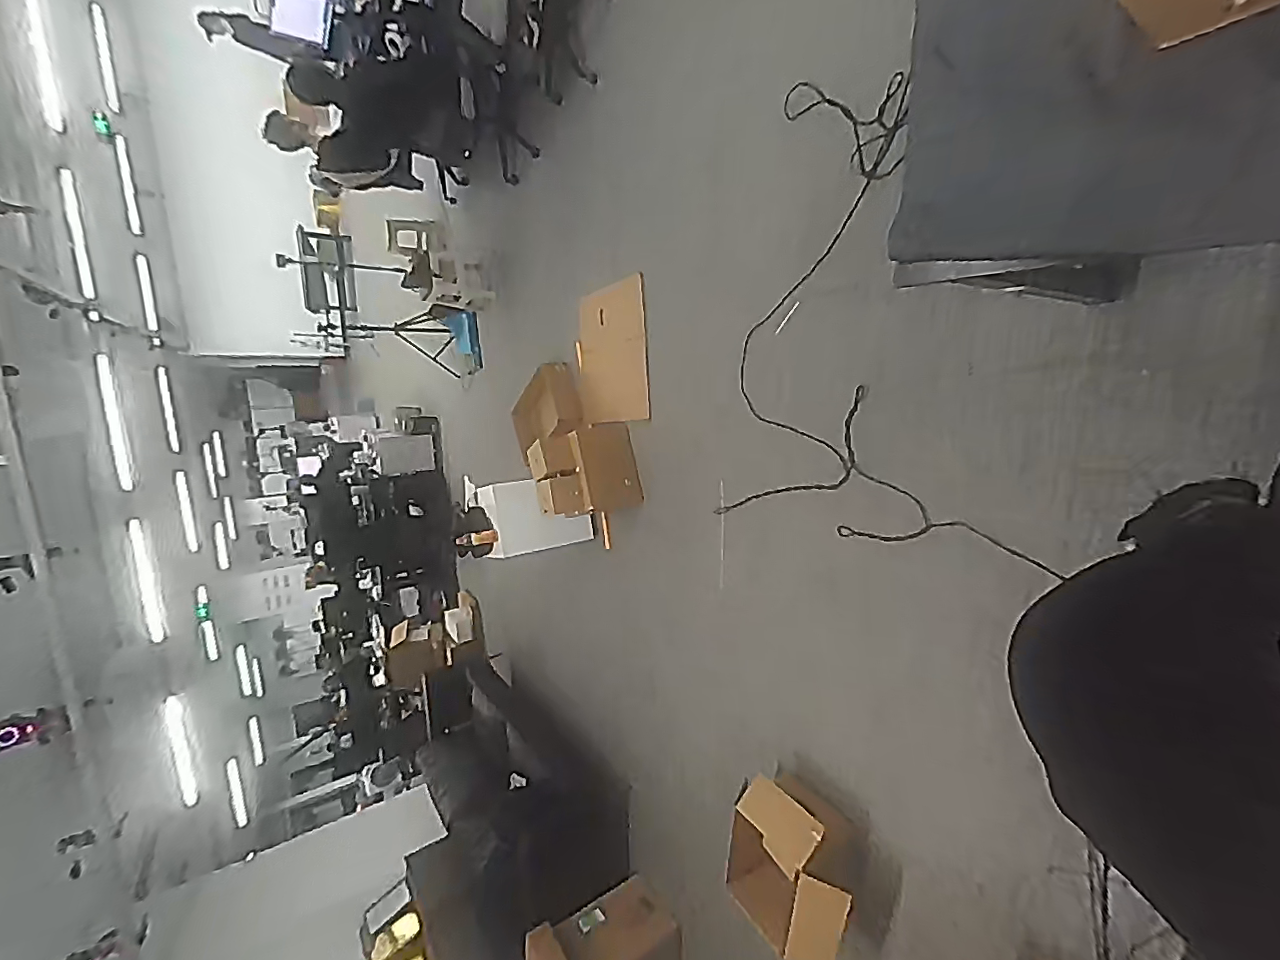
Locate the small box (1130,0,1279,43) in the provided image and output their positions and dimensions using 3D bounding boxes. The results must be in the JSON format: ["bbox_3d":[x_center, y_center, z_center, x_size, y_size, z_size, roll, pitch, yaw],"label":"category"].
[{"bbox_3d":[0.521,-0.520,0.447,0.168,0.176,0.179,12,108,54],"label":"small box"}]
